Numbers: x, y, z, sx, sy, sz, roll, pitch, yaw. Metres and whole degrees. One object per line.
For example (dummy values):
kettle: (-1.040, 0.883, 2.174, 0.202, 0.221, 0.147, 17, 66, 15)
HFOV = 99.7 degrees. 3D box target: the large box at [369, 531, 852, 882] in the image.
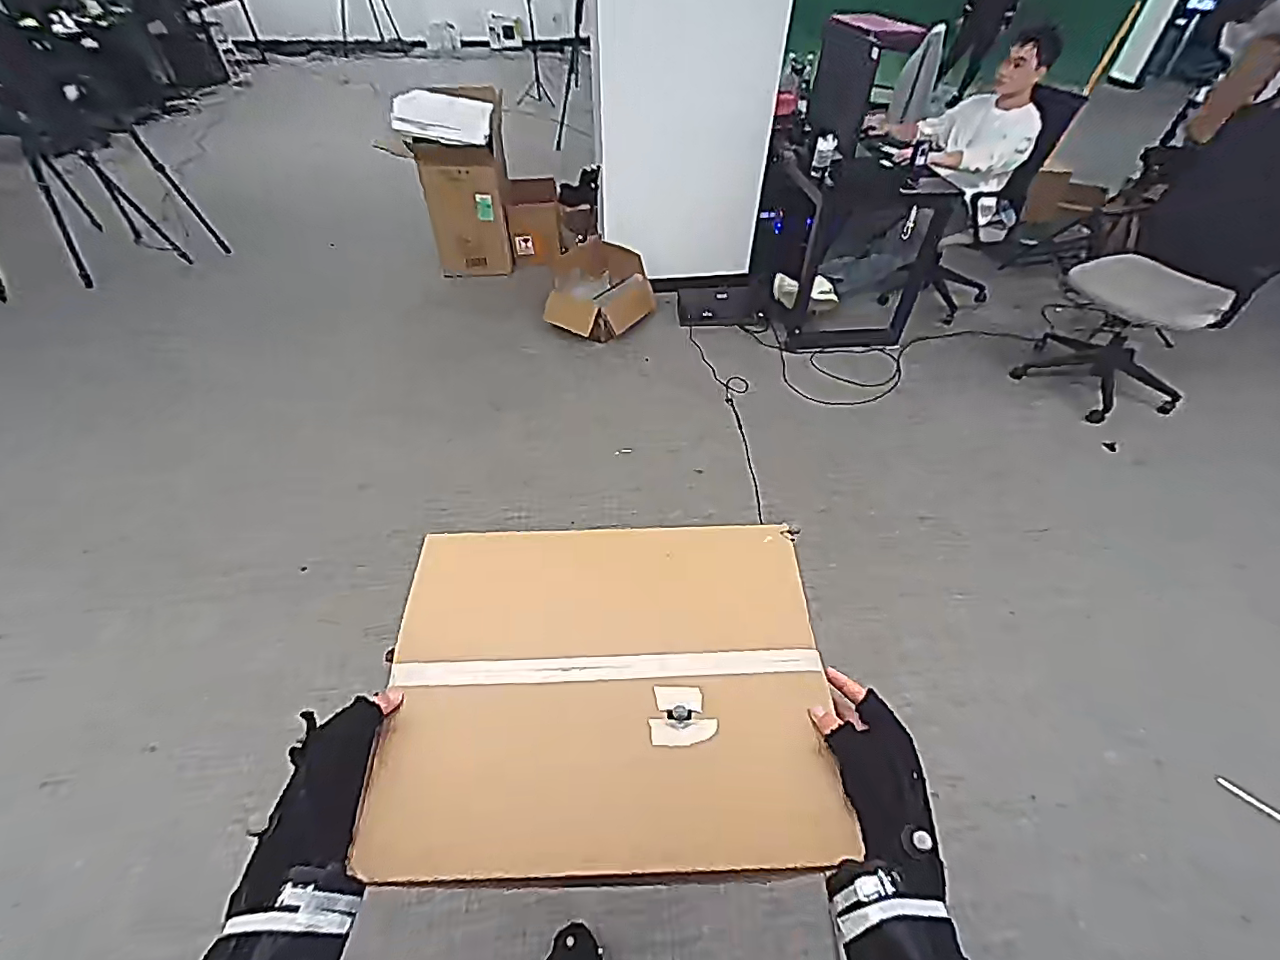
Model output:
large box: (-0.029, 0.276, 0.645, 0.408, 0.320, 0.320, -1, 53, -1)
